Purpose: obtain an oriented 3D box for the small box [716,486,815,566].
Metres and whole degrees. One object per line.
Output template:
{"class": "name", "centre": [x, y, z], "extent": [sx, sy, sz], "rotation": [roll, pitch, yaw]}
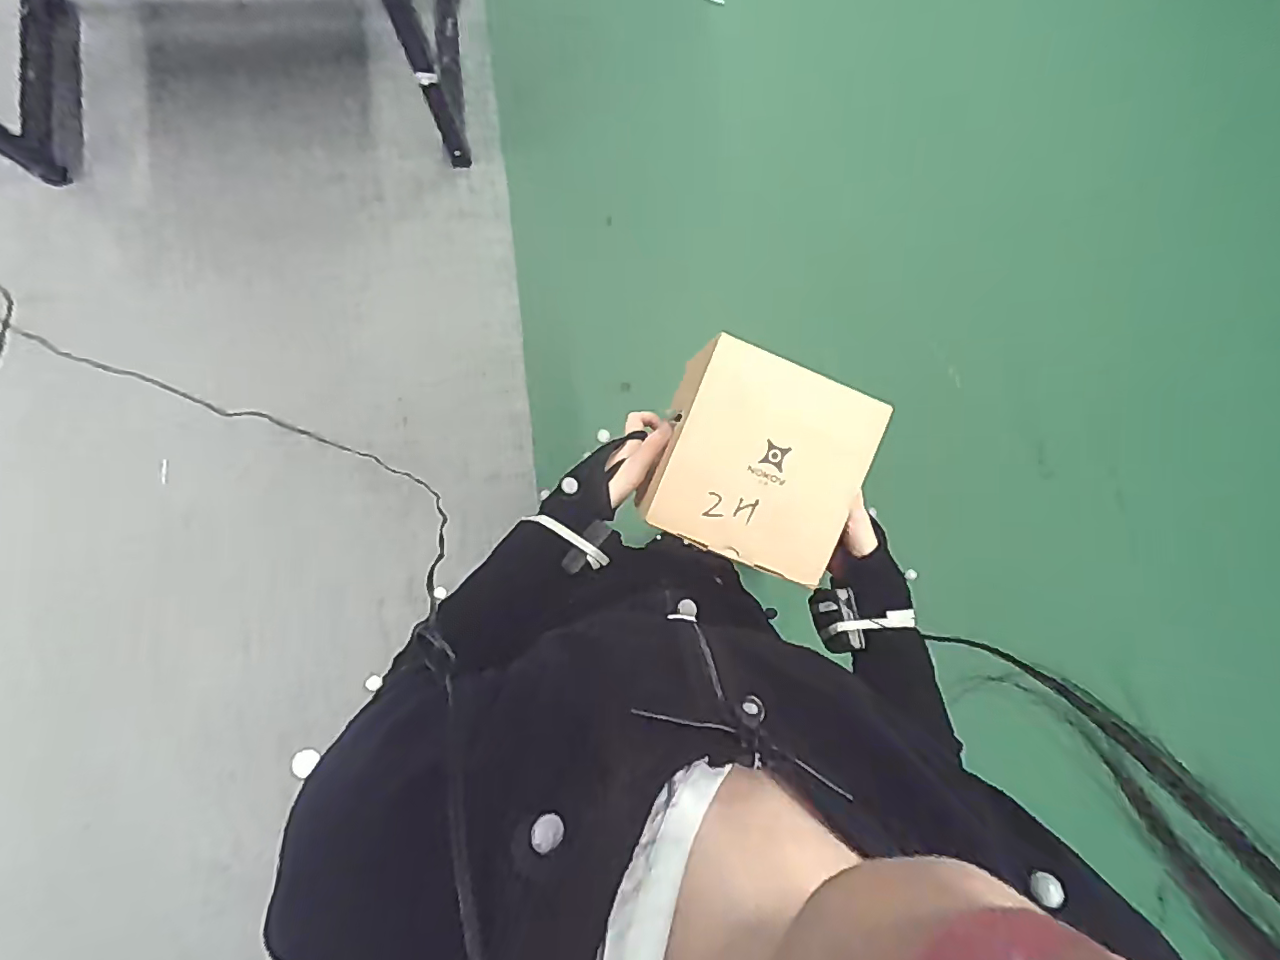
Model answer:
{"class": "small box", "centre": [0.287, 0.106, 1.267], "extent": [0.179, 0.176, 0.168], "rotation": [-5, 85, -3]}
